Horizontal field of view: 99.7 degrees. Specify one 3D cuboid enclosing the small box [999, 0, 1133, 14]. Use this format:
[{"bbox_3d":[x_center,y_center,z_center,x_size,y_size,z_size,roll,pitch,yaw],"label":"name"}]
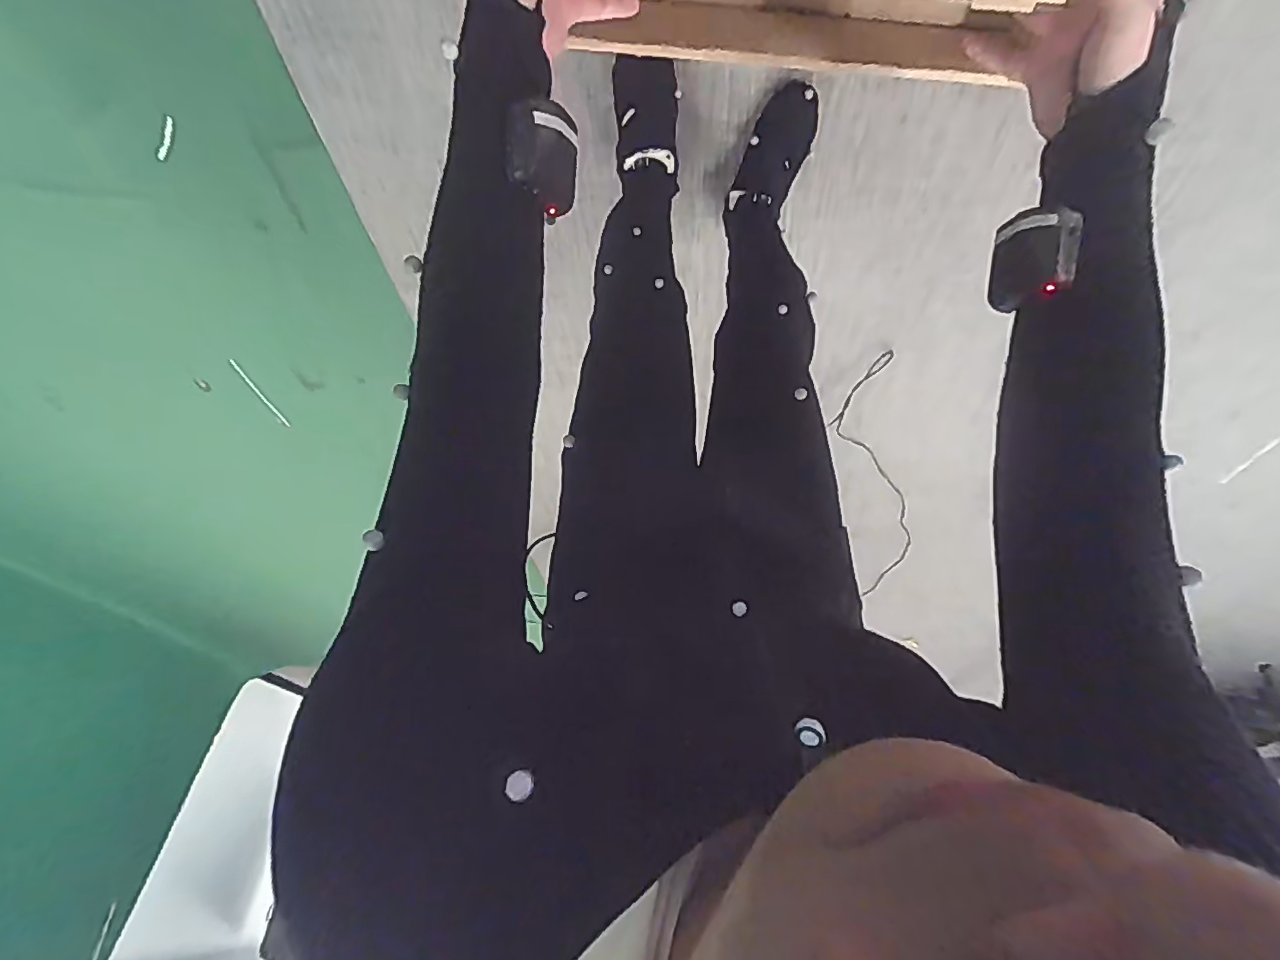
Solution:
[{"bbox_3d":[0.263,-0.442,0.347,0.168,0.176,0.179,5,143,-1],"label":"small box"}]
